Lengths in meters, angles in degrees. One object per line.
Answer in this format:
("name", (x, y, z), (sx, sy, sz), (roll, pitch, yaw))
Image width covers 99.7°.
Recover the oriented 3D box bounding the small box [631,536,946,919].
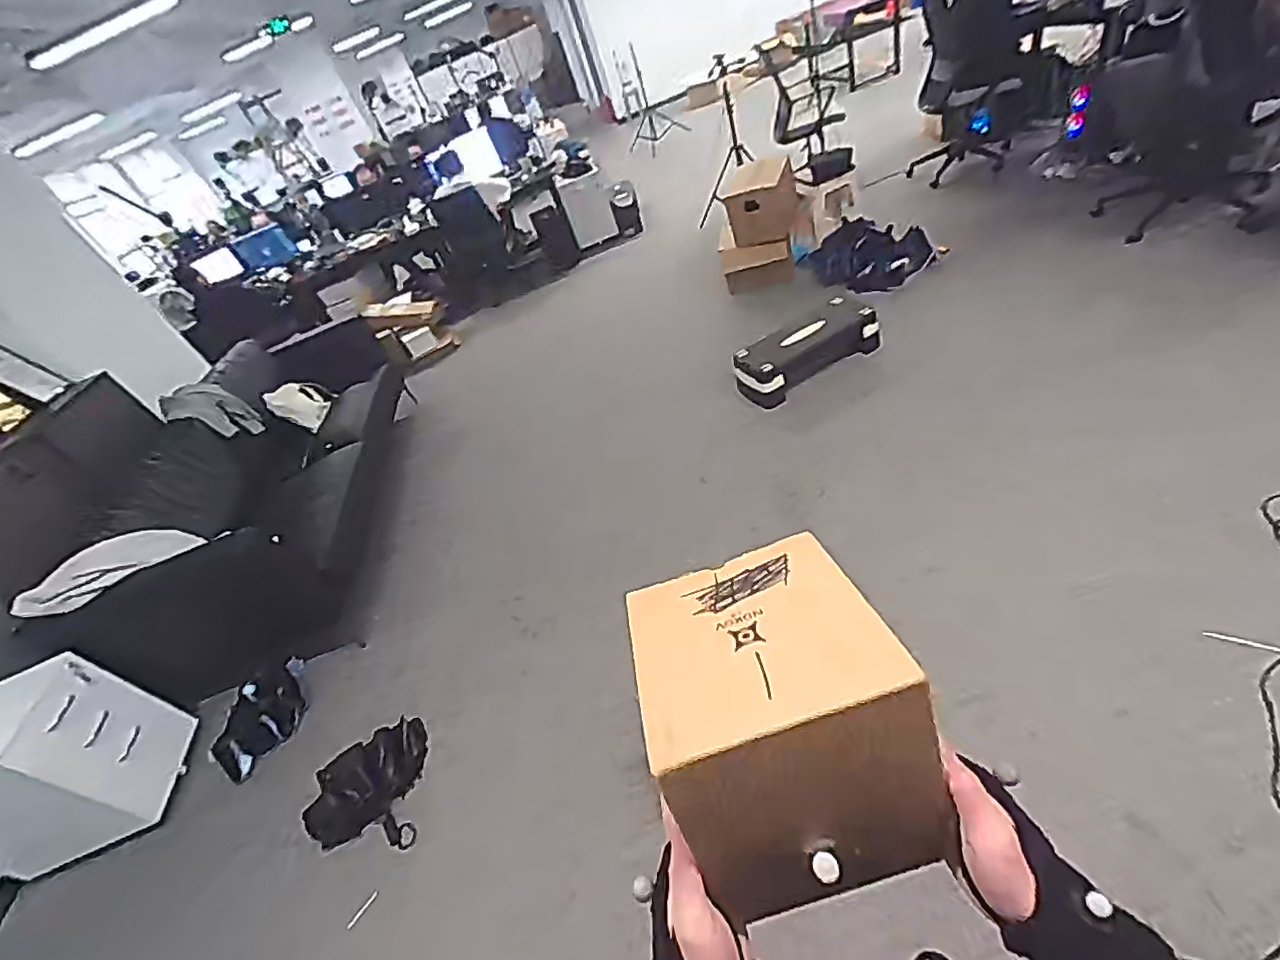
("small box", (0.100, 0.174, 0.412), (0.168, 0.176, 0.179), (-20, 22, 3))
